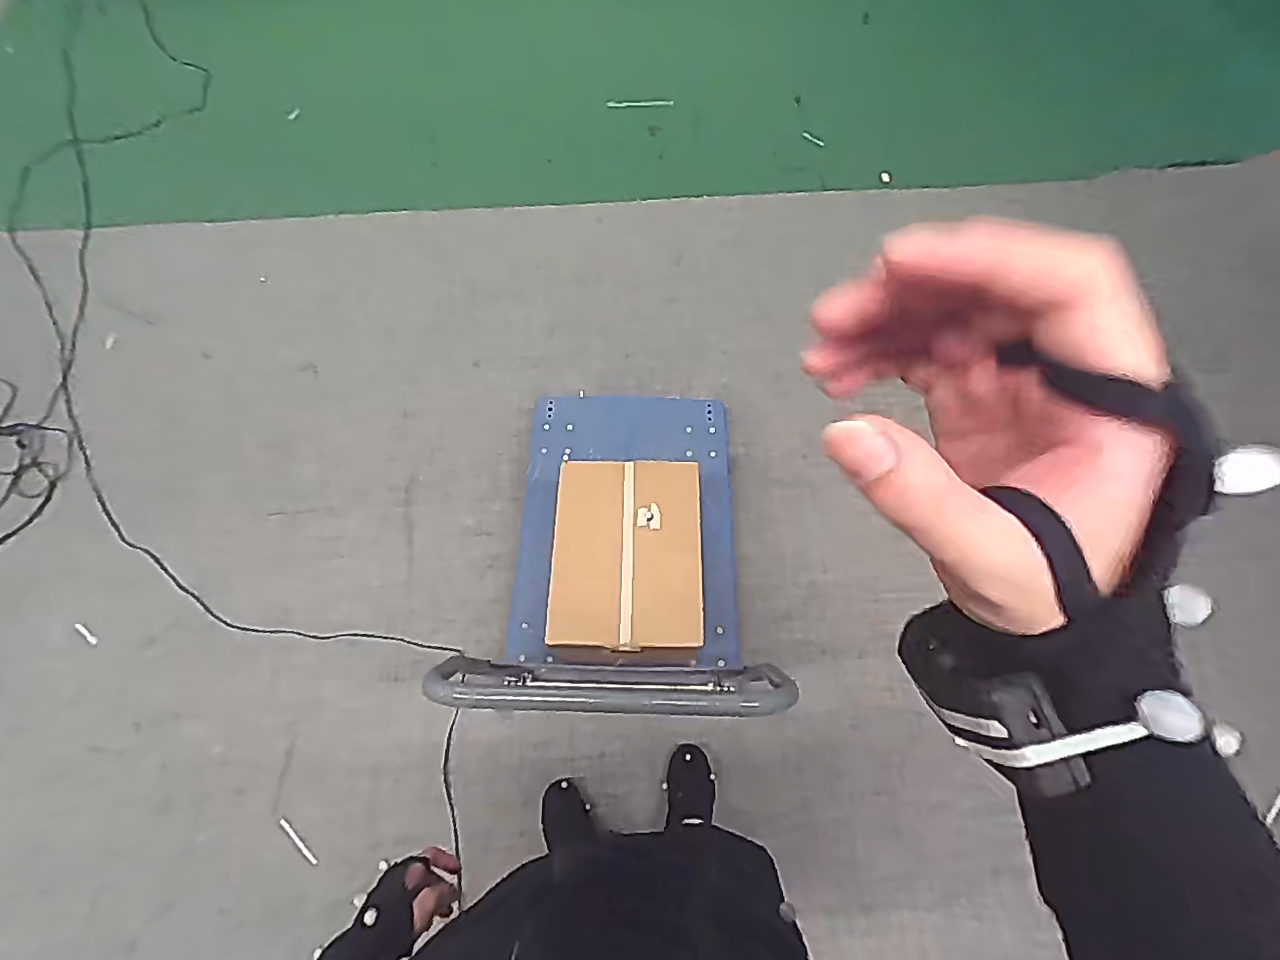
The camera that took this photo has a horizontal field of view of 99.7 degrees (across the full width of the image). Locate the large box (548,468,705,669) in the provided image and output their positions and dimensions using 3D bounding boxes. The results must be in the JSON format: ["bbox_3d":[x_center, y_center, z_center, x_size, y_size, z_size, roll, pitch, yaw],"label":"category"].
[{"bbox_3d":[-0.024,0.218,1.273,0.320,0.320,0.408,1,64,0],"label":"large box"}]
